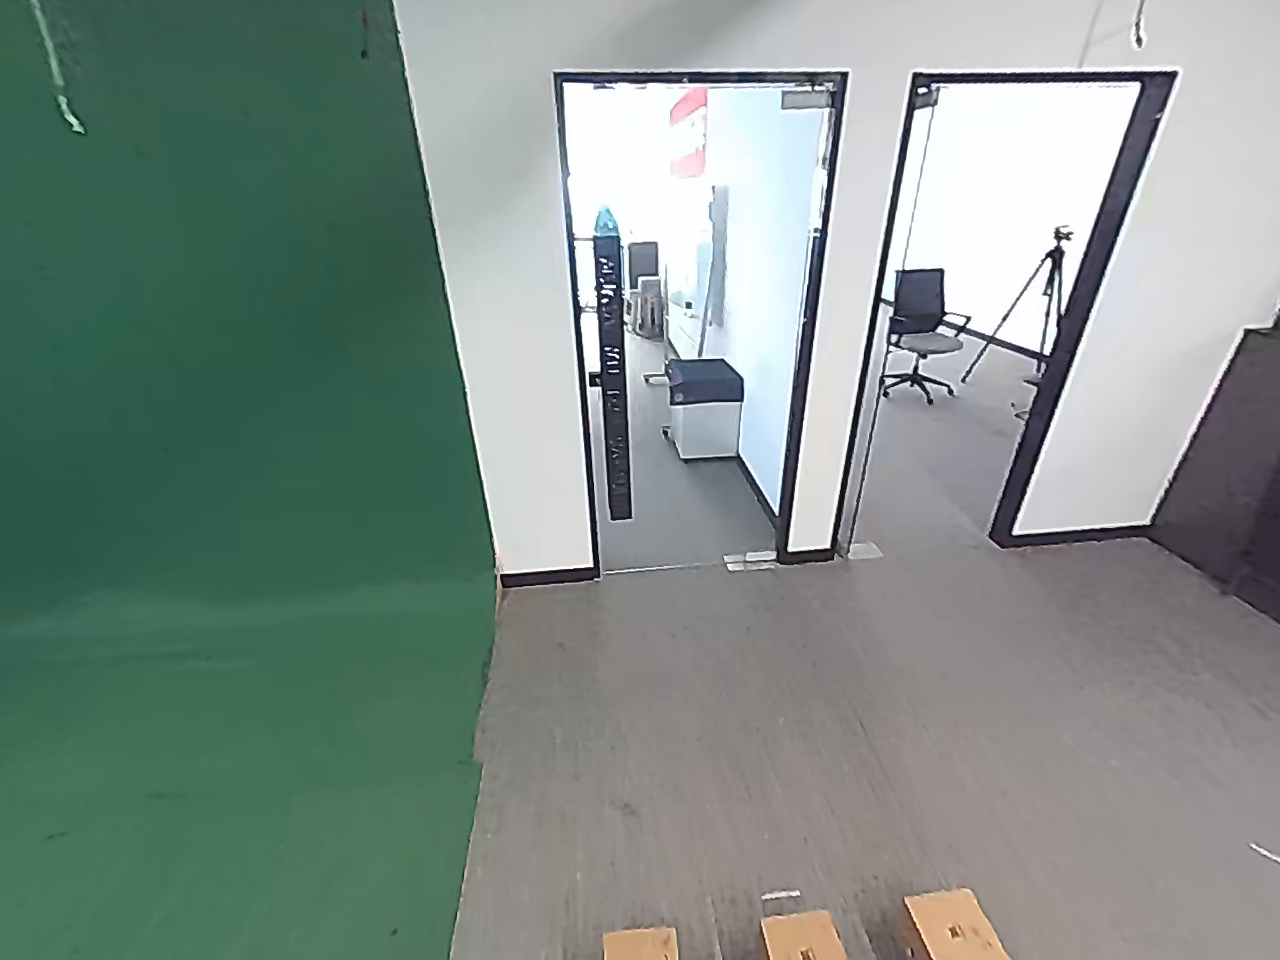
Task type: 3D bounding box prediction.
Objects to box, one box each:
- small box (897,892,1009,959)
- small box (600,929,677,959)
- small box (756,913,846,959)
[{"bbox_3d":[0.734,1.123,1.283,0.179,0.176,0.168,-3,28,-5],"label":"small box"},{"bbox_3d":[0.002,1.168,1.232,0.179,0.176,0.168,-3,28,-1],"label":"small box"},{"bbox_3d":[0.379,1.148,1.253,0.179,0.176,0.168,-4,27,-4],"label":"small box"}]
